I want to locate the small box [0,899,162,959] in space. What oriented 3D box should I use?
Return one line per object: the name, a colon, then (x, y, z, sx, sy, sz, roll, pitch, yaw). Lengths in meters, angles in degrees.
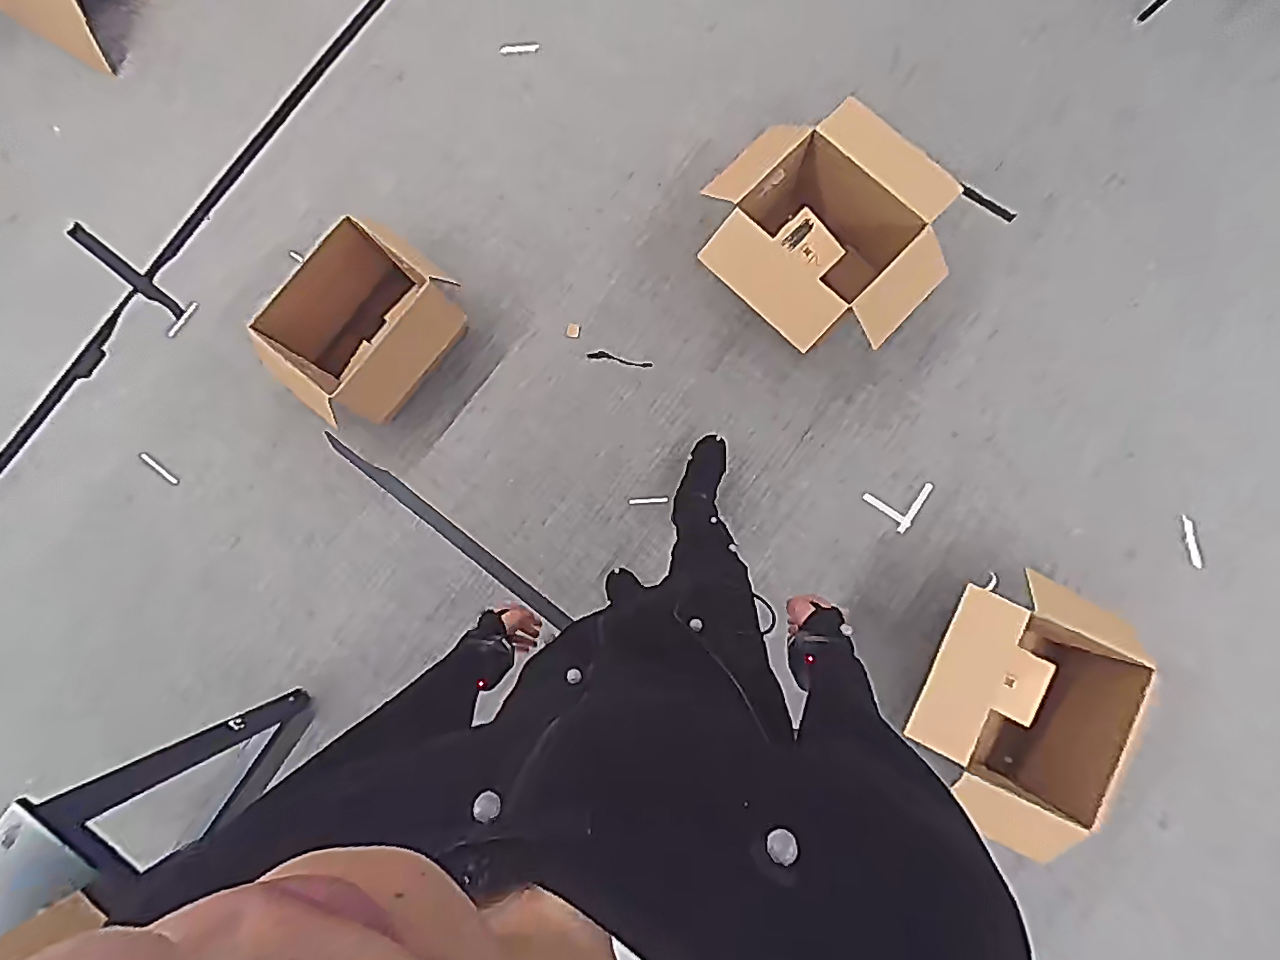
small box: (-0.890, 0.780, 0.802, 0.179, 0.176, 0.168, 38, 88, 4)
